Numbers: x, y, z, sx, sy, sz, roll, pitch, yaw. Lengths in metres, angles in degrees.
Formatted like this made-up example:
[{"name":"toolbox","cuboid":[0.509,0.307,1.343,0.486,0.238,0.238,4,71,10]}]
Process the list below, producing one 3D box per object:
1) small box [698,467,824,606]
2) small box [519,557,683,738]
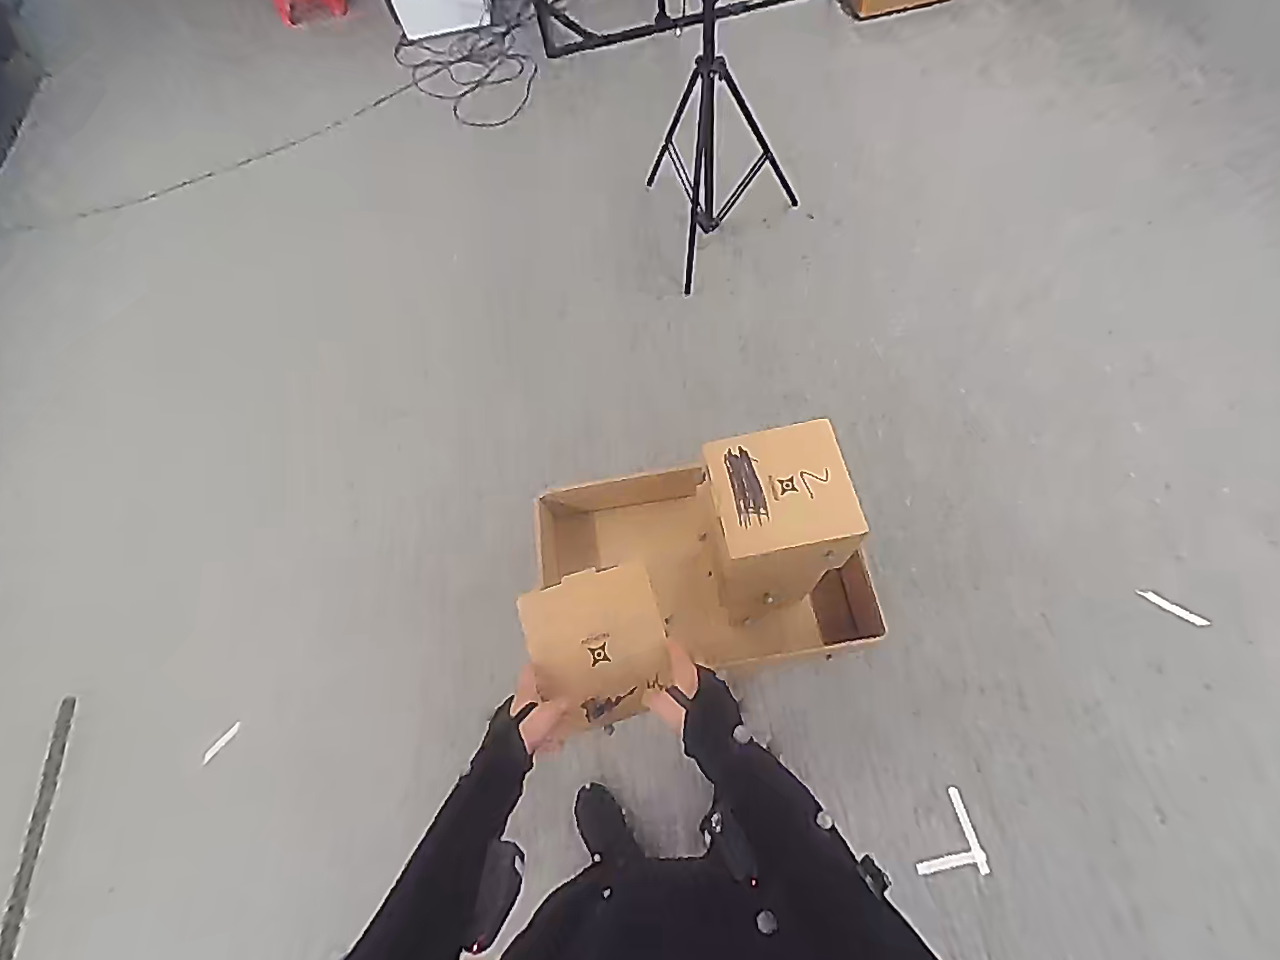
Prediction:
[{"name":"small box","cuboid":[0.194,0.101,0.918,0.168,0.176,0.179,-12,66,4]},{"name":"small box","cuboid":[-0.045,0.217,0.724,0.168,0.176,0.179,-17,76,0]}]
